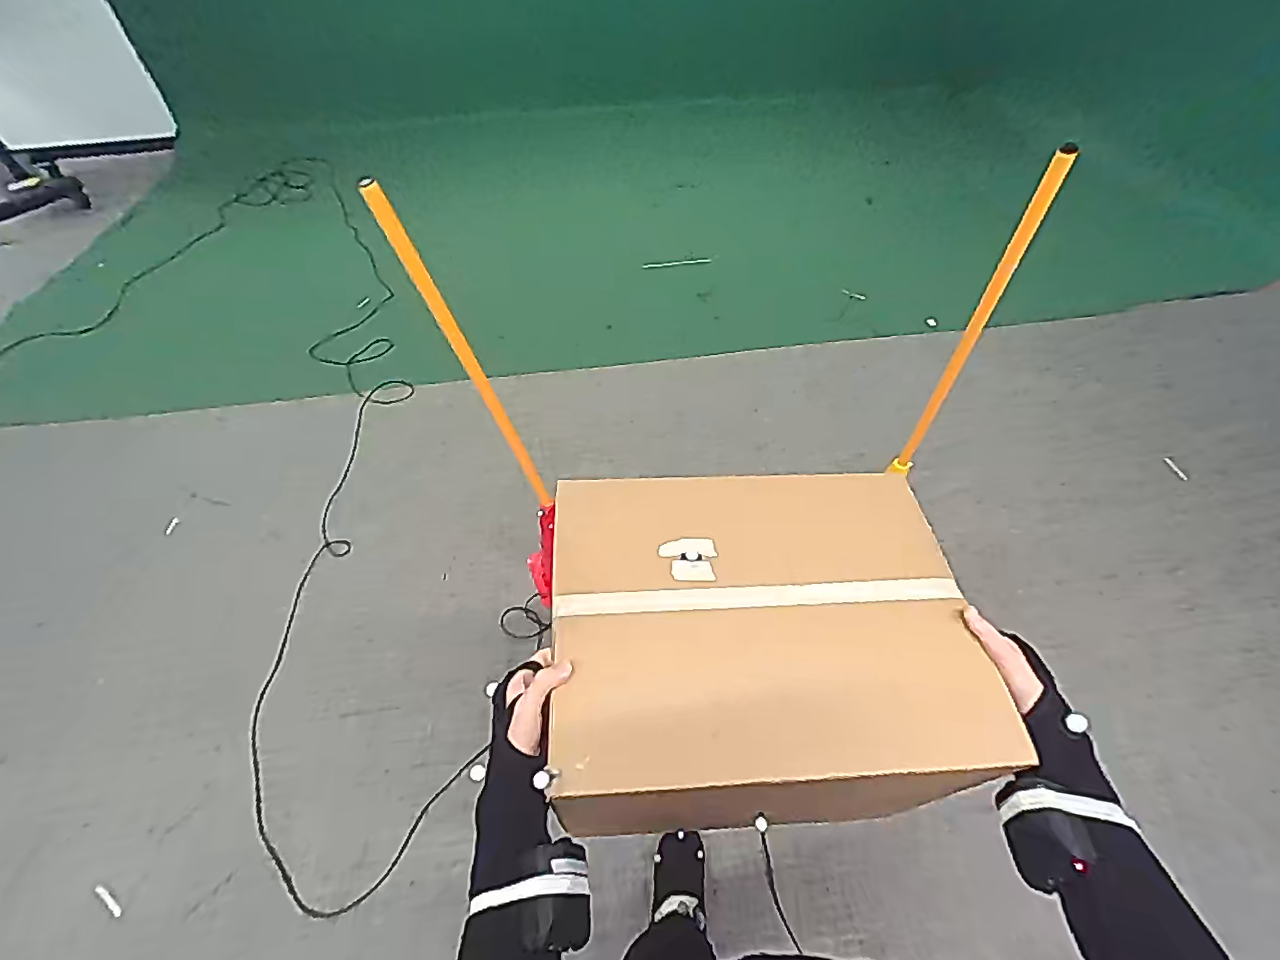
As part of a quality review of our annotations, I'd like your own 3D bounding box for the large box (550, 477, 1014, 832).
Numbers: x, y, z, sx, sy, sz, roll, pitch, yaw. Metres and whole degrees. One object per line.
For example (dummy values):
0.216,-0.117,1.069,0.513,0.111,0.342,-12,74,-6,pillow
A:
0.112,0.217,0.655,0.408,0.320,0.320,-2,51,-4,large box
